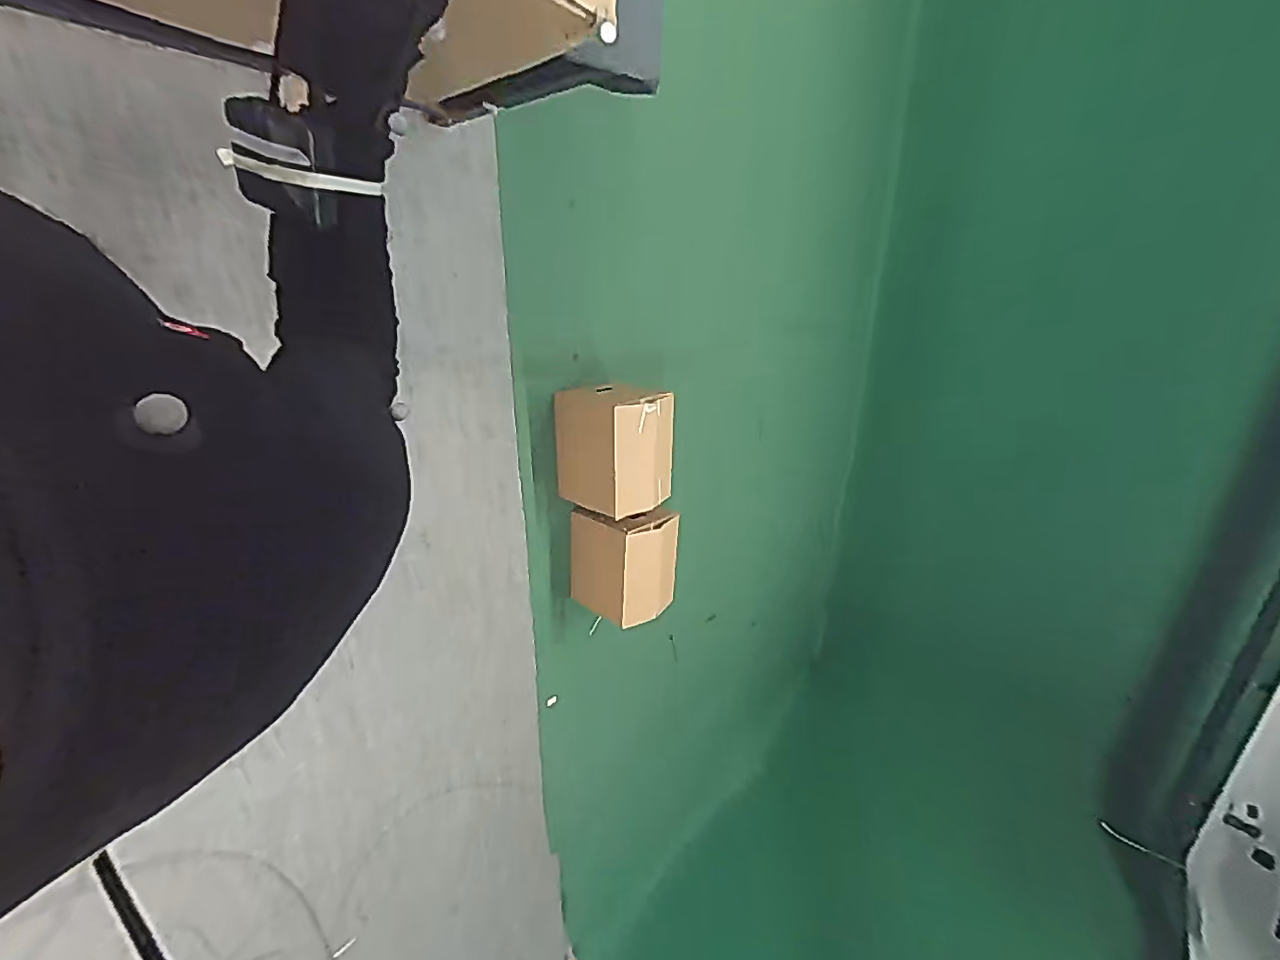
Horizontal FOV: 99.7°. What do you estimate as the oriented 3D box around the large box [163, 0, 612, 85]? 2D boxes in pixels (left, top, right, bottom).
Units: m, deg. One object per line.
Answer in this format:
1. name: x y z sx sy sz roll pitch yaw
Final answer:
1. large box: -0.217 -0.545 0.328 0.320 0.320 0.408 -13 117 -43
